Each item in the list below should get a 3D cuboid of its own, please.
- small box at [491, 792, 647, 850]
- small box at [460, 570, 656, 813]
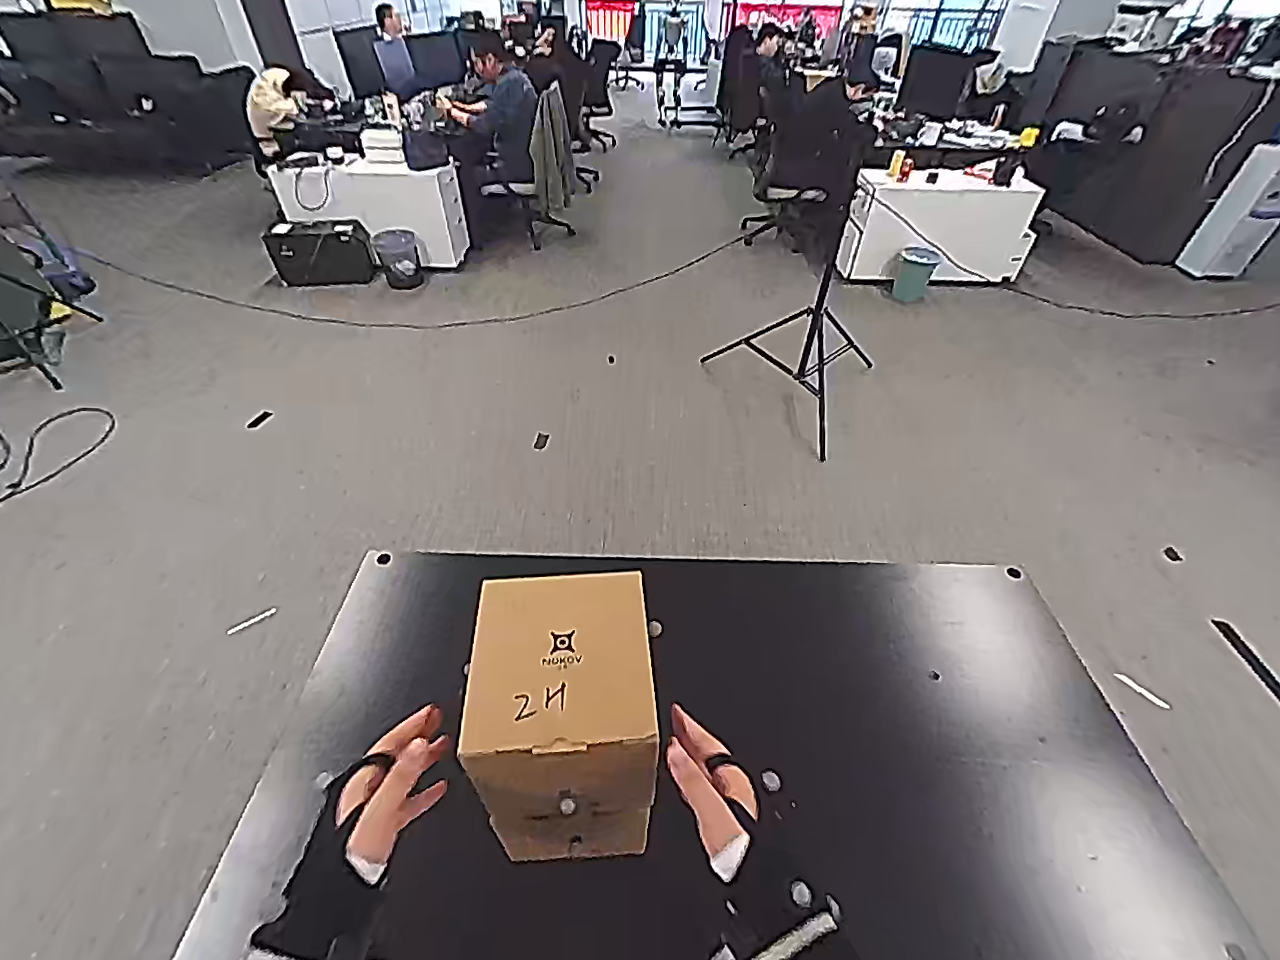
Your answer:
[{"bbox_3d":[-0.077,0.342,0.674,0.168,0.176,0.179,-2,43,-3],"label":"small box"},{"bbox_3d":[-0.075,0.217,0.563,0.168,0.176,0.179,-3,42,-4],"label":"small box"}]
